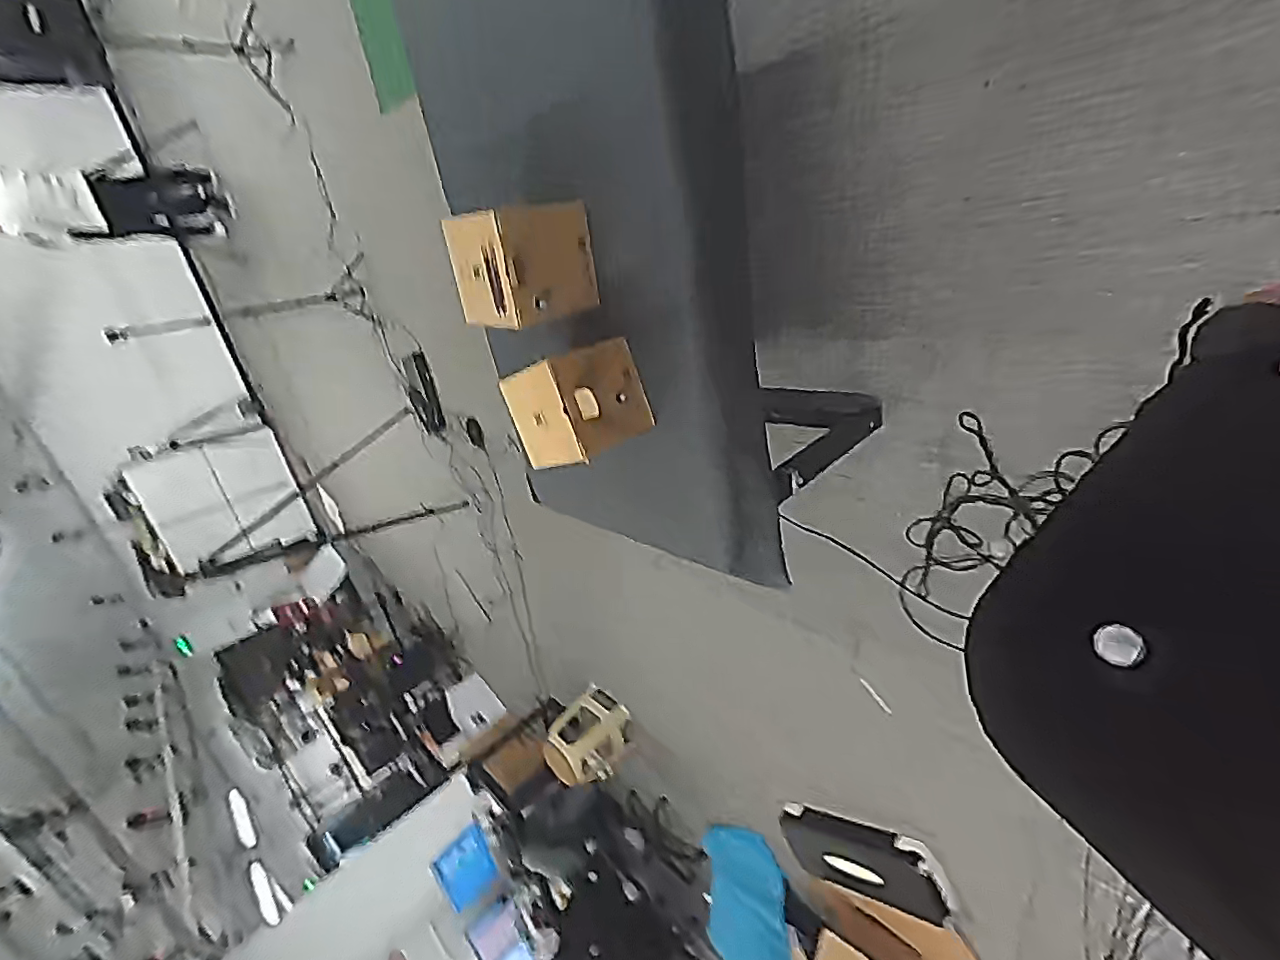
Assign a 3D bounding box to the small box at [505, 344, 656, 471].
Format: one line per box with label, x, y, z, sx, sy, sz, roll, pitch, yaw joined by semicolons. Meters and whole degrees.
small box;-0.103;-0.125;0.950;0.179;0.176;0.168;-7;106;51
